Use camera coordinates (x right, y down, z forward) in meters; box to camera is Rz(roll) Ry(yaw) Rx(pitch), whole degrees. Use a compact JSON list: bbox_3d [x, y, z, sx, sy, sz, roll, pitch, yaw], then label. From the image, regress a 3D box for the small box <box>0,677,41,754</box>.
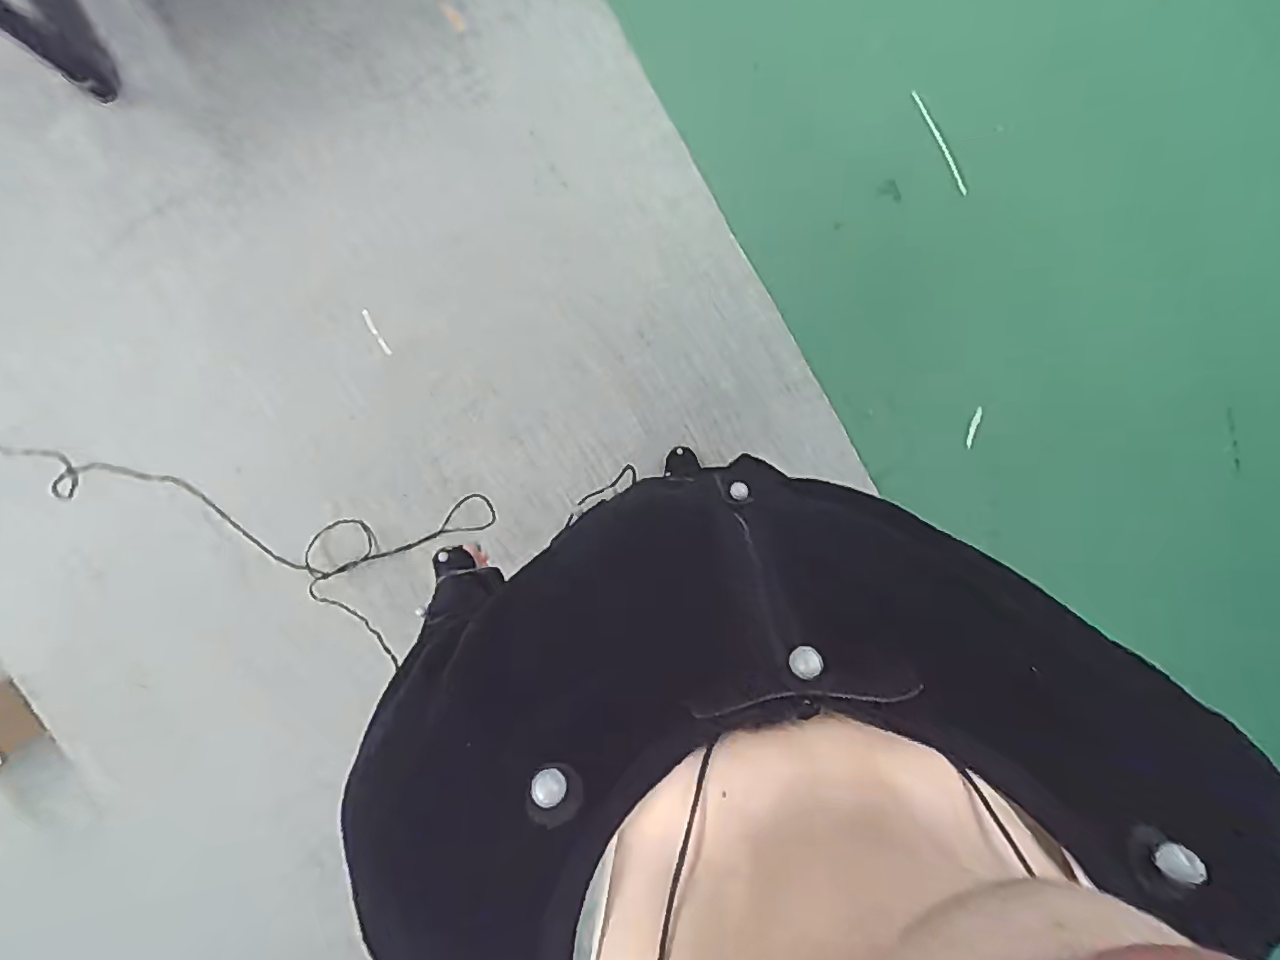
[{"bbox_3d":[-1.685,0.629,1.349,0.168,0.176,0.179,-31,92,-3],"label":"small box"}]
